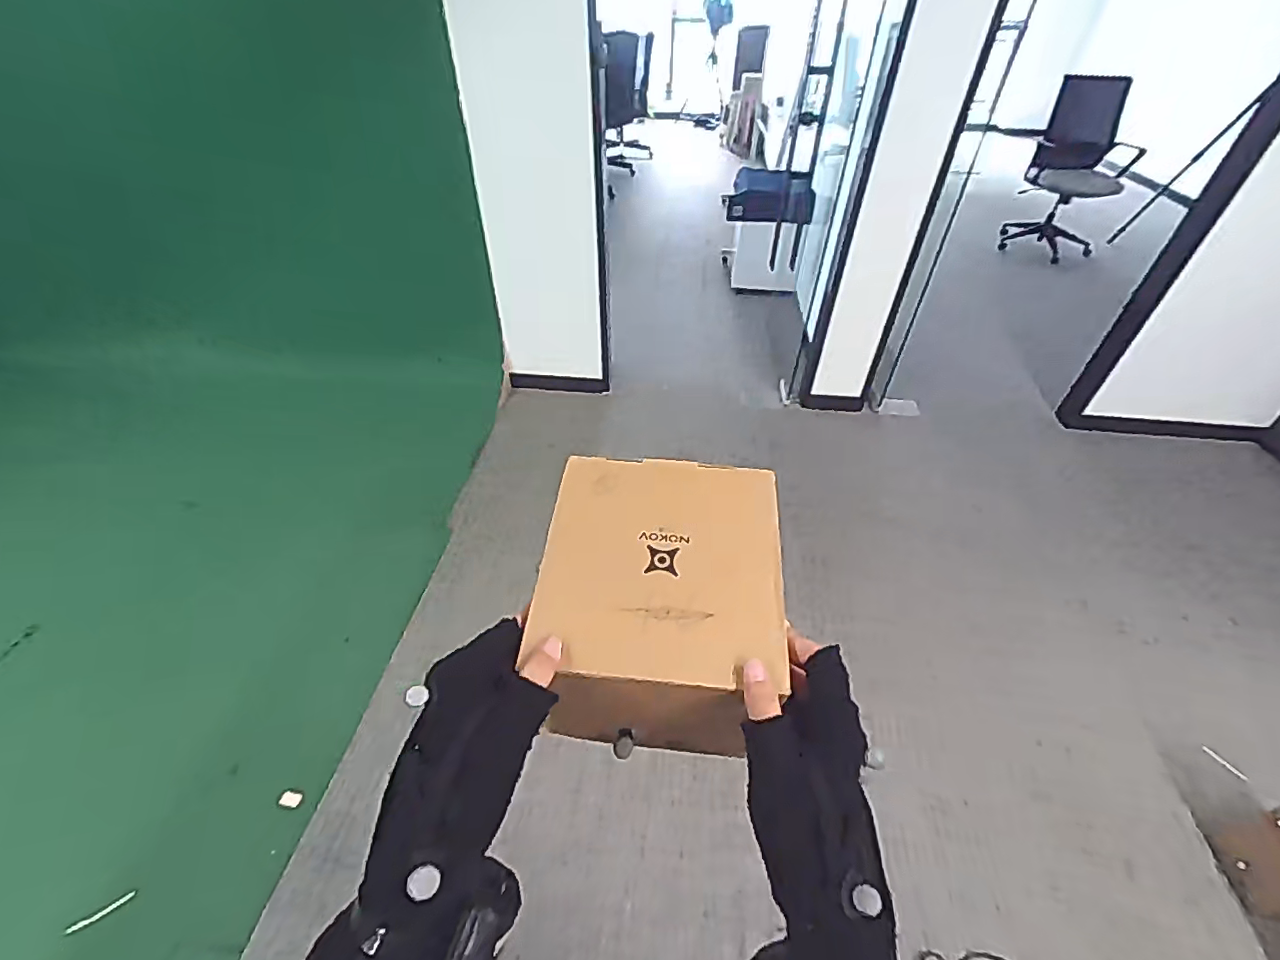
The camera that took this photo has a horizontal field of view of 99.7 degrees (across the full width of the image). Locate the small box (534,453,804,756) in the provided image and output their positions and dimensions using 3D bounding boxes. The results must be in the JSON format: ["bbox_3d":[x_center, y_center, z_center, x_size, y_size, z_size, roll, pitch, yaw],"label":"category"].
[{"bbox_3d":[0.024,0.102,0.435,0.168,0.176,0.179,4,52,4],"label":"small box"}]
